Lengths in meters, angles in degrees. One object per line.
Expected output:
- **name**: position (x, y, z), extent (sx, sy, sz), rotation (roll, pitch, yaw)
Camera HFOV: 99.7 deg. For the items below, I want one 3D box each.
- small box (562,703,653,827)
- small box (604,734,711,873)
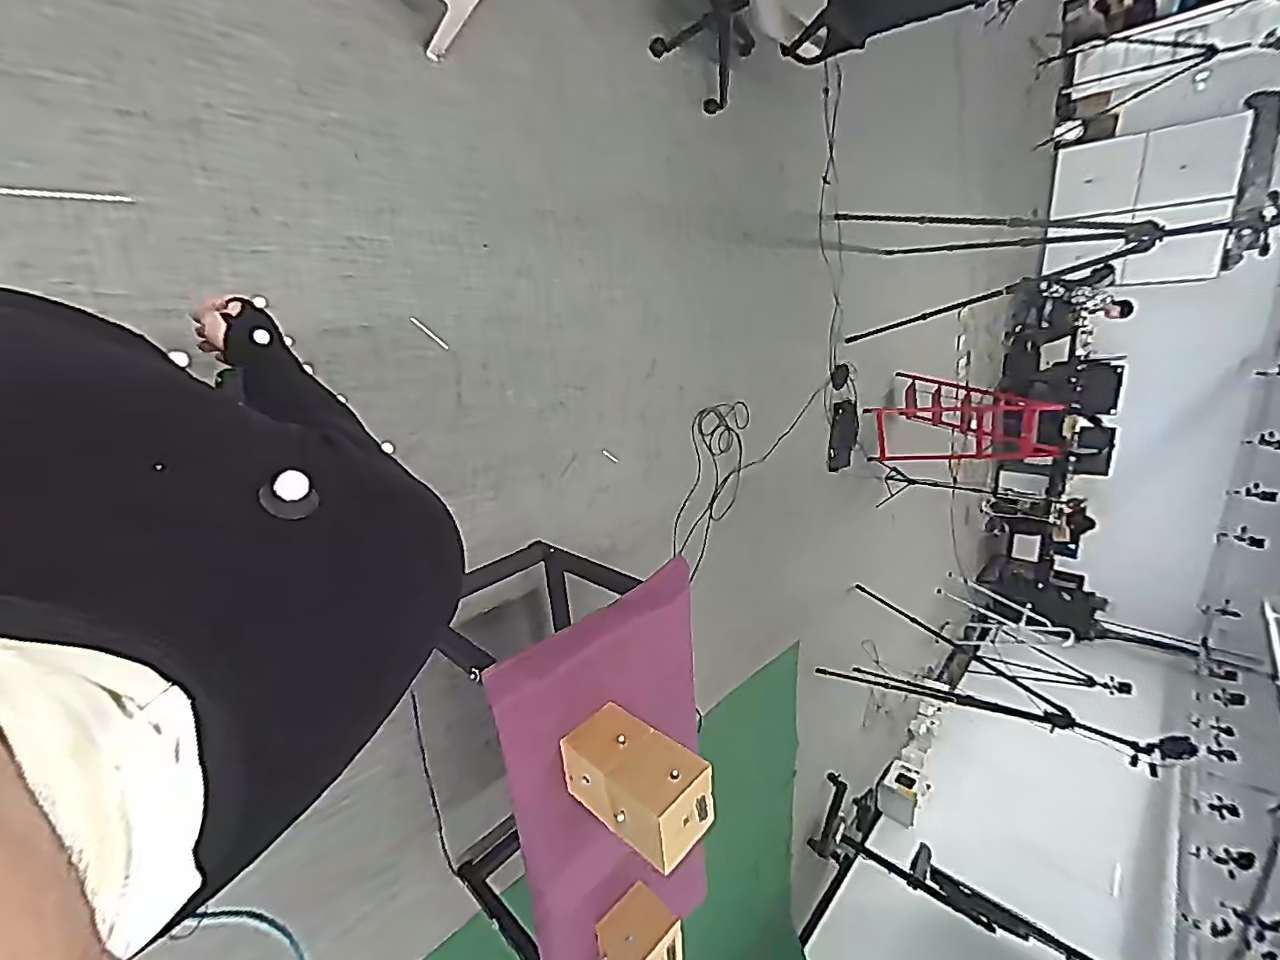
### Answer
- **small box**: position (-0.079, 0.693, 1.335), extent (0.179, 0.176, 0.168), rotation (-22, 114, -42)
- **small box**: position (0.040, 0.718, 1.225), extent (0.179, 0.176, 0.168), rotation (-21, 113, -42)
